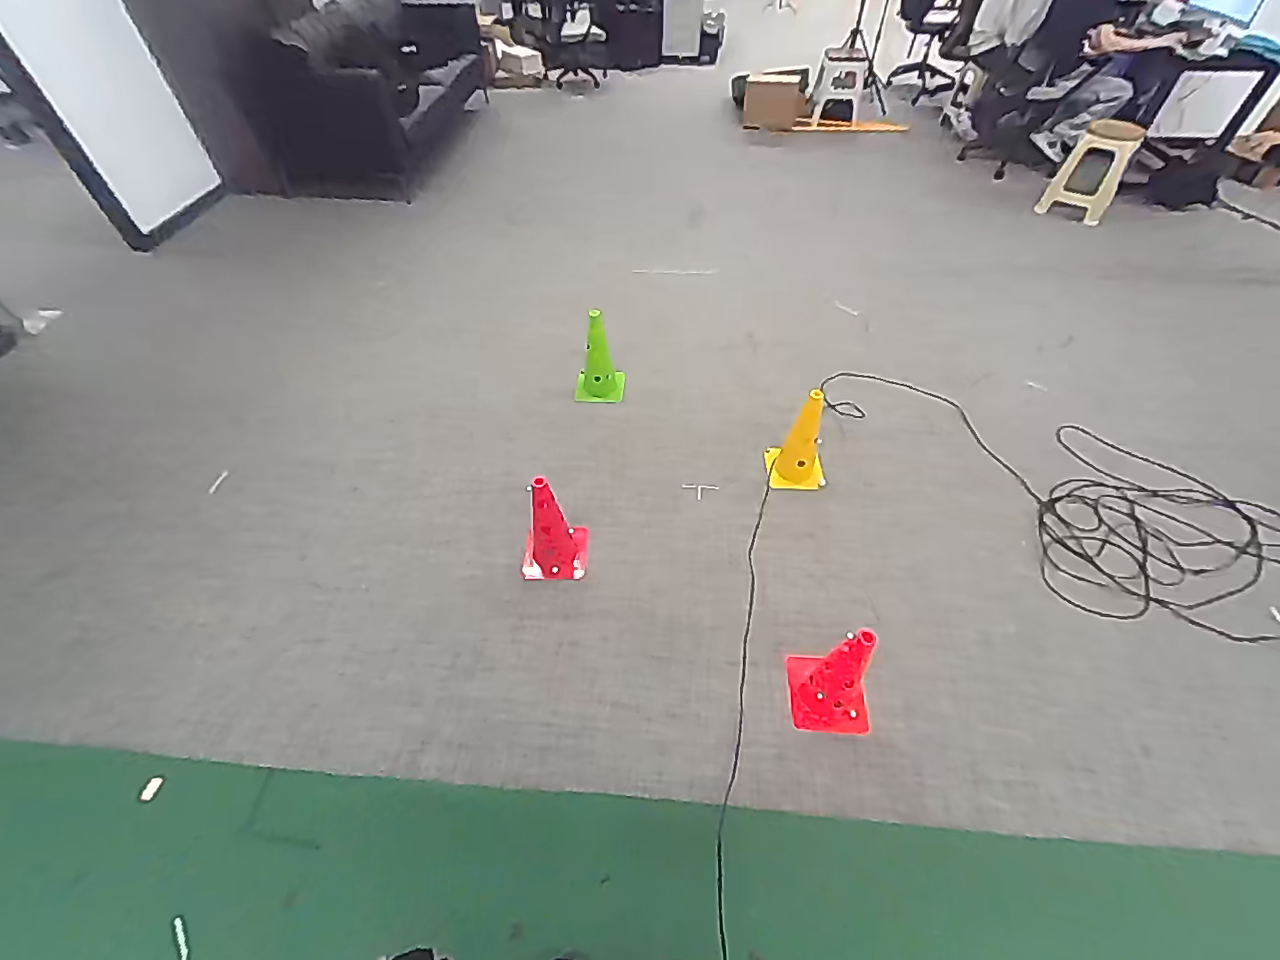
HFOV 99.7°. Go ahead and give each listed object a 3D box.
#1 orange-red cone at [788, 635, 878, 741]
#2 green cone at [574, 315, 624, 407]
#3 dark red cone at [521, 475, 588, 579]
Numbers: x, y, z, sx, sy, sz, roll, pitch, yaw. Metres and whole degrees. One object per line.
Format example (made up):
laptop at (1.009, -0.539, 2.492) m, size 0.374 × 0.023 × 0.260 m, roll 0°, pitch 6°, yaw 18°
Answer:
orange-red cone at (0.501, 0.471, 1.317) m, size 0.198 × 0.360 × 0.199 m, roll 4°, pitch 48°, yaw 3°
green cone at (-0.170, -0.491, 2.176) m, size 0.202 × 0.368 × 0.200 m, roll 3°, pitch 49°, yaw 1°
dark red cone at (-0.271, 0.124, 1.602) m, size 0.202 × 0.394 × 0.201 m, roll -1°, pitch 50°, yaw 0°
